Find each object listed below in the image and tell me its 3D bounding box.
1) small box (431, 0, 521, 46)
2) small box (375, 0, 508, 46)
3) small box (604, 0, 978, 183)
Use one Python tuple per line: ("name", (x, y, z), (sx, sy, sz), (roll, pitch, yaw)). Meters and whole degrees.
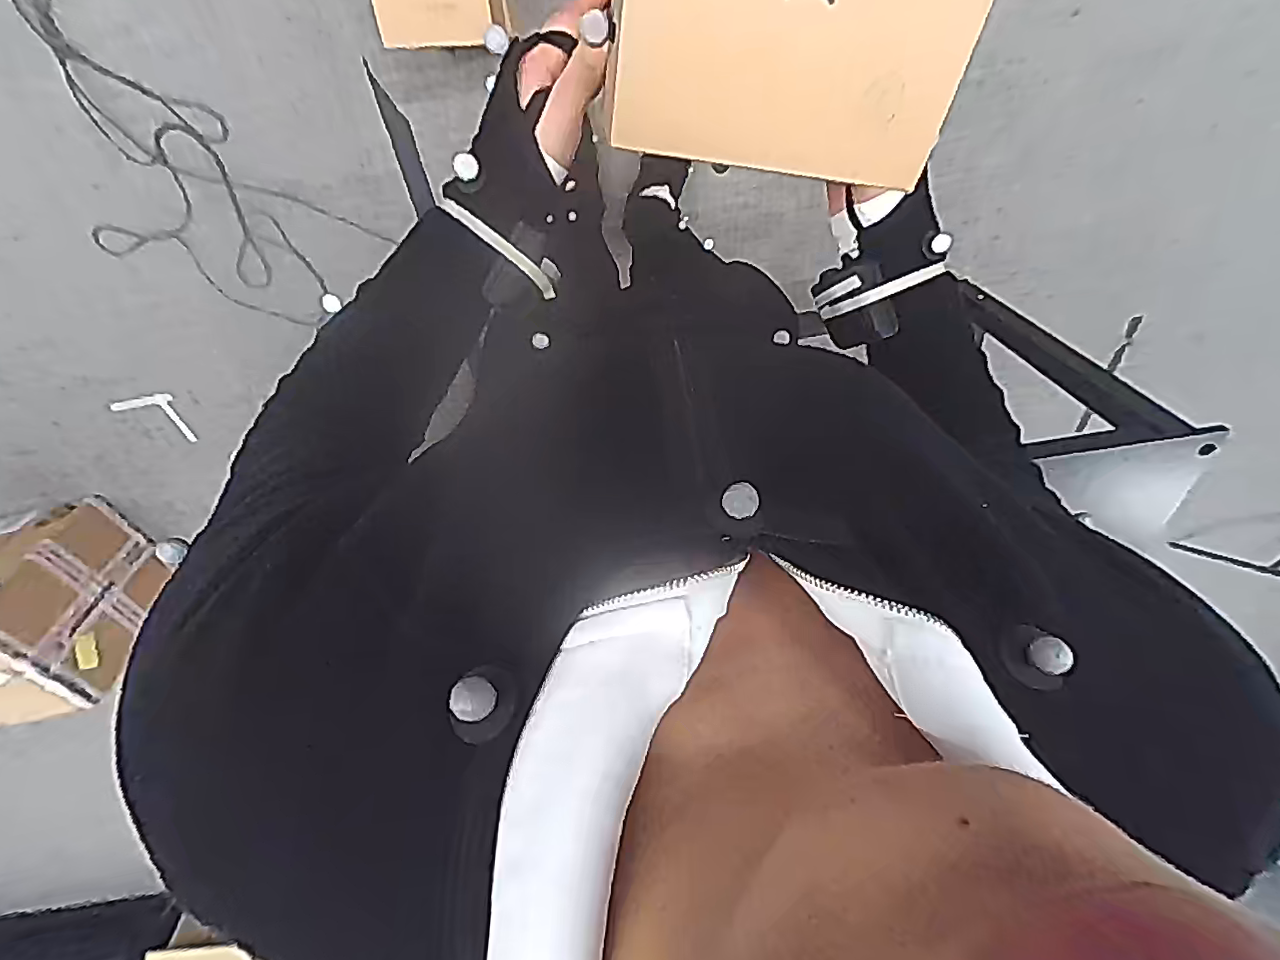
("small box", (-0.316, -0.860, 0.929), (0.179, 0.176, 0.168), (-8, 130, 1))
("small box", (-0.299, -0.760, 0.802), (0.168, 0.176, 0.179), (-4, 131, -1))
("small box", (0.070, -0.284, 0.294), (0.168, 0.176, 0.179), (3, 128, -9))
